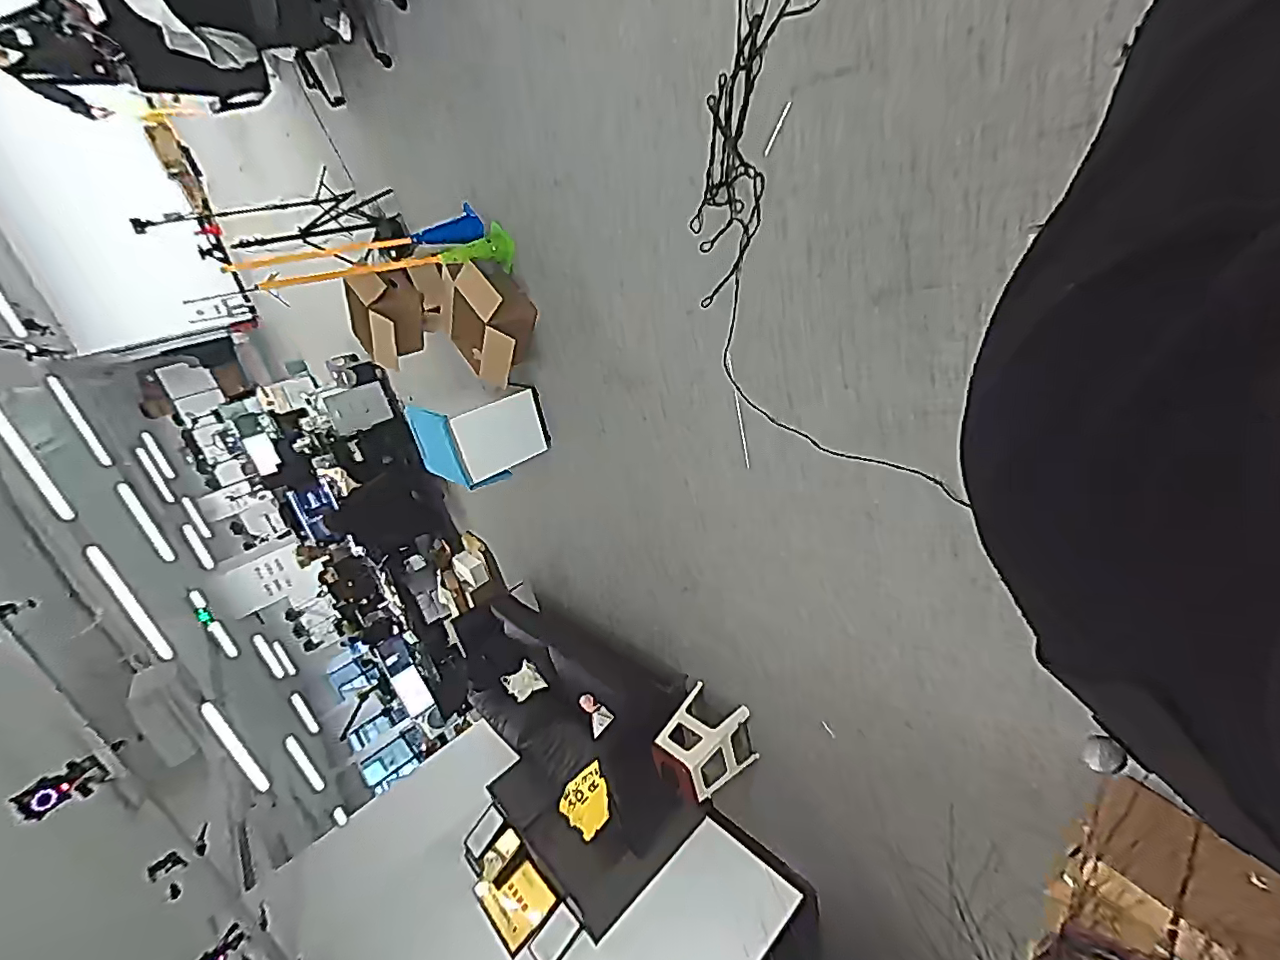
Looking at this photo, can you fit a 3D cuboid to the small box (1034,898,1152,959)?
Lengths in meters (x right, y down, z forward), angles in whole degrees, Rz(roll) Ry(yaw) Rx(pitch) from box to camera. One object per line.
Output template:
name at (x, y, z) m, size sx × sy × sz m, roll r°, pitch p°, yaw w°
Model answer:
small box at (1.162, 1.235, 1.389) m, size 0.168 × 0.176 × 0.179 m, roll 33°, pitch 139°, yaw 36°

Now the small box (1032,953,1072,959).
small box at (1.037, 1.298, 1.307) m, size 0.179 × 0.176 × 0.168 m, roll 34°, pitch 139°, yaw 35°
